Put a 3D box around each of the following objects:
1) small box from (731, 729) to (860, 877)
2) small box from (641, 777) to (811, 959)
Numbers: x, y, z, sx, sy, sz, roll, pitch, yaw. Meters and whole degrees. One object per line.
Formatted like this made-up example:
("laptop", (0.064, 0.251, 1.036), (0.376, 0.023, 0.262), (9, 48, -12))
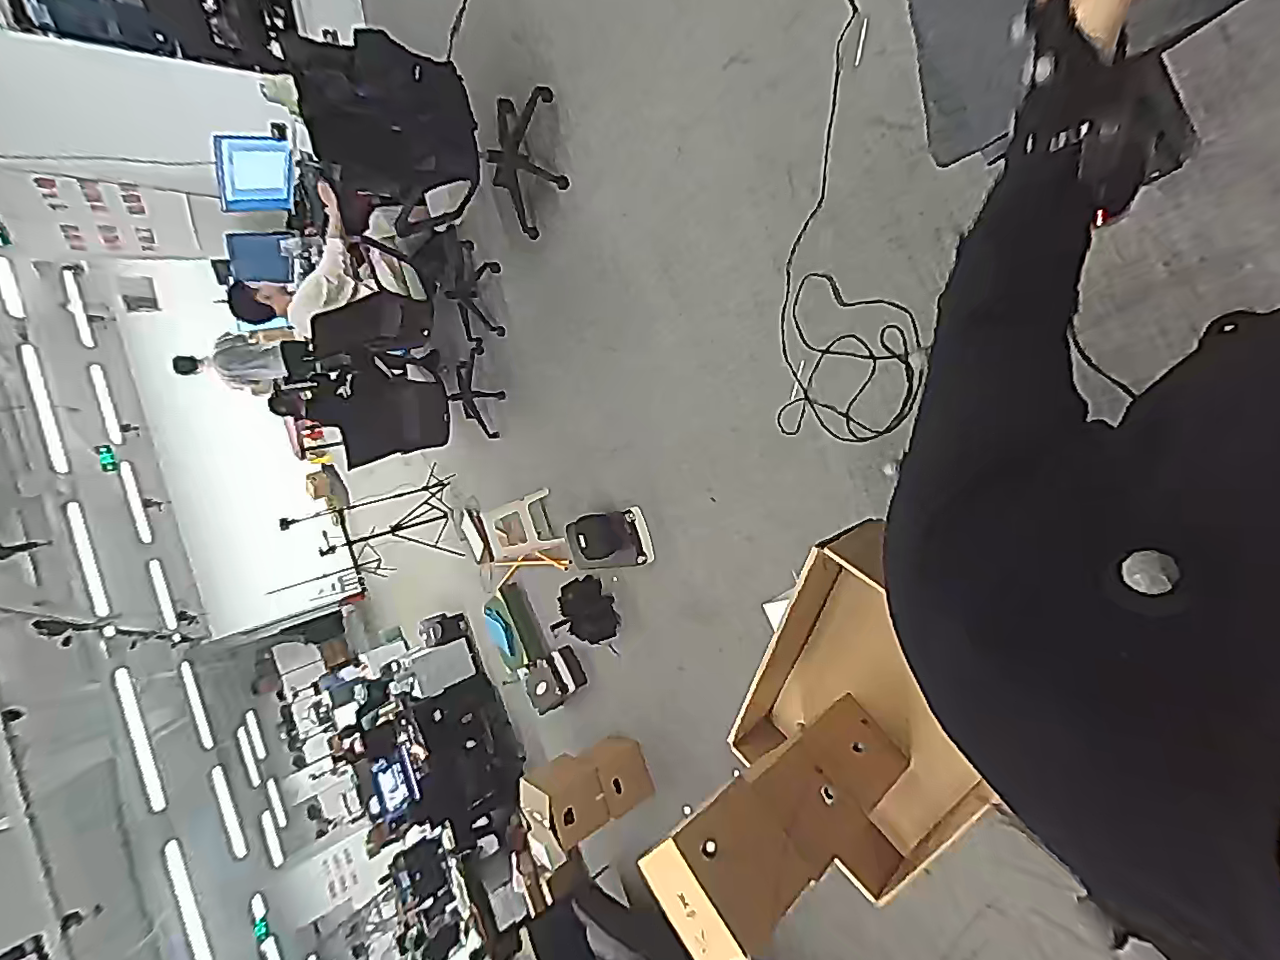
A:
("small box", (0.261, 0.593, 0.986), (0.168, 0.176, 0.179), (51, 137, 23))
("small box", (0.136, 0.618, 0.880), (0.179, 0.176, 0.168), (49, 138, 26))
